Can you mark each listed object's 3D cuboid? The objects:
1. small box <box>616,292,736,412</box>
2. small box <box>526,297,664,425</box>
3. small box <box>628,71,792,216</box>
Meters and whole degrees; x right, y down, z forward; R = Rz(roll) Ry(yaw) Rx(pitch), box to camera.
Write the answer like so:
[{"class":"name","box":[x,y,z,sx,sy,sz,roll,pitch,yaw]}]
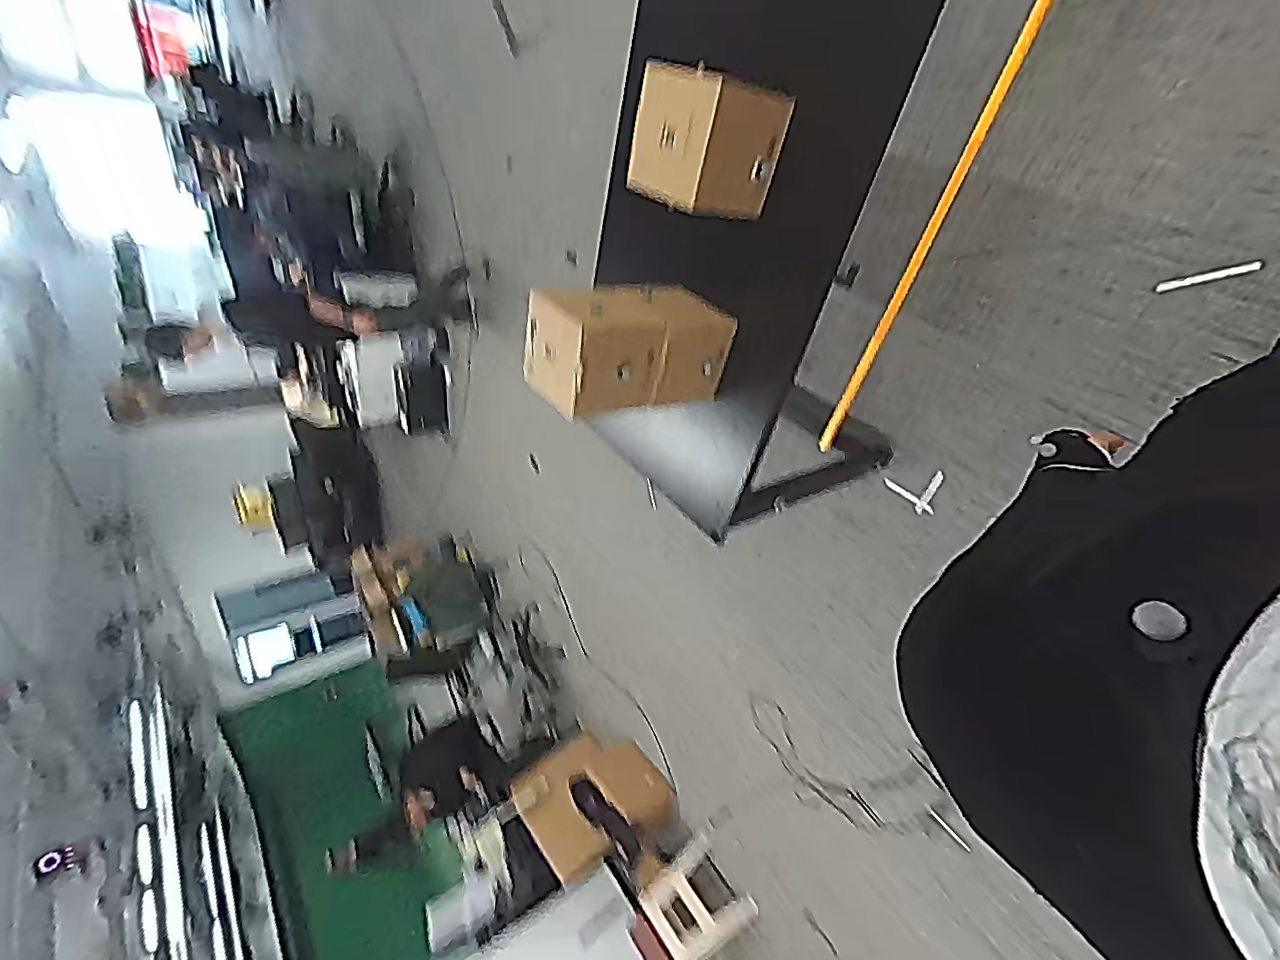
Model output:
[{"class":"small box","box":[0.052,-0.252,1.048,0.179,0.176,0.168,44,134,35]},{"class":"small box","box":[-0.082,-0.221,0.958,0.179,0.176,0.168,41,132,36]},{"class":"small box","box":[0.108,-0.537,0.875,0.179,0.176,0.168,42,134,36]}]
